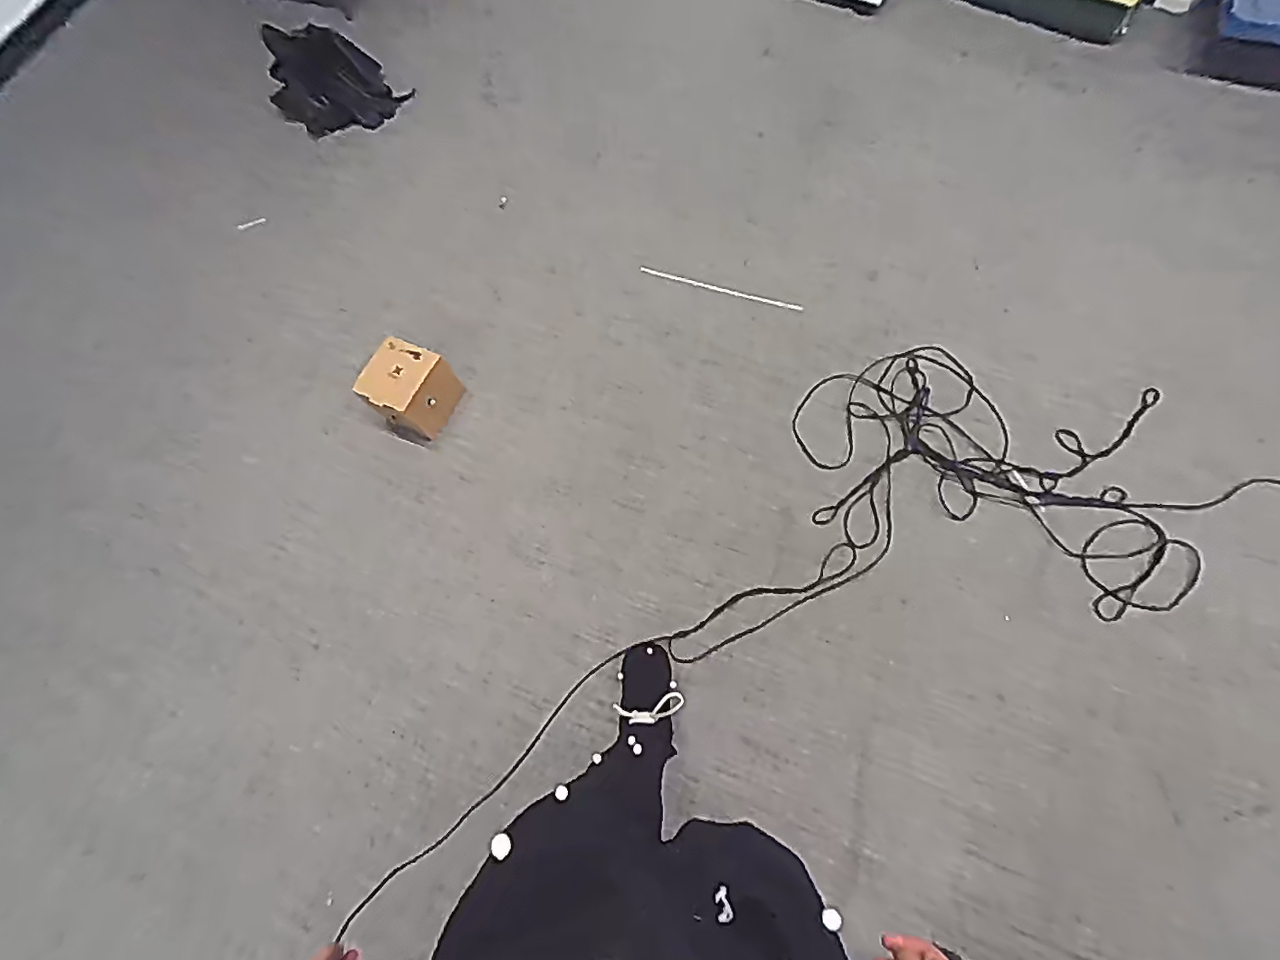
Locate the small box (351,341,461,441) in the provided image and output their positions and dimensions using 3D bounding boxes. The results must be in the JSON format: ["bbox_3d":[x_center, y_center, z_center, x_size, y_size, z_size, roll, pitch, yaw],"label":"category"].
[{"bbox_3d":[-0.603,-0.226,1.420,0.168,0.176,0.179,23,75,13],"label":"small box"}]
